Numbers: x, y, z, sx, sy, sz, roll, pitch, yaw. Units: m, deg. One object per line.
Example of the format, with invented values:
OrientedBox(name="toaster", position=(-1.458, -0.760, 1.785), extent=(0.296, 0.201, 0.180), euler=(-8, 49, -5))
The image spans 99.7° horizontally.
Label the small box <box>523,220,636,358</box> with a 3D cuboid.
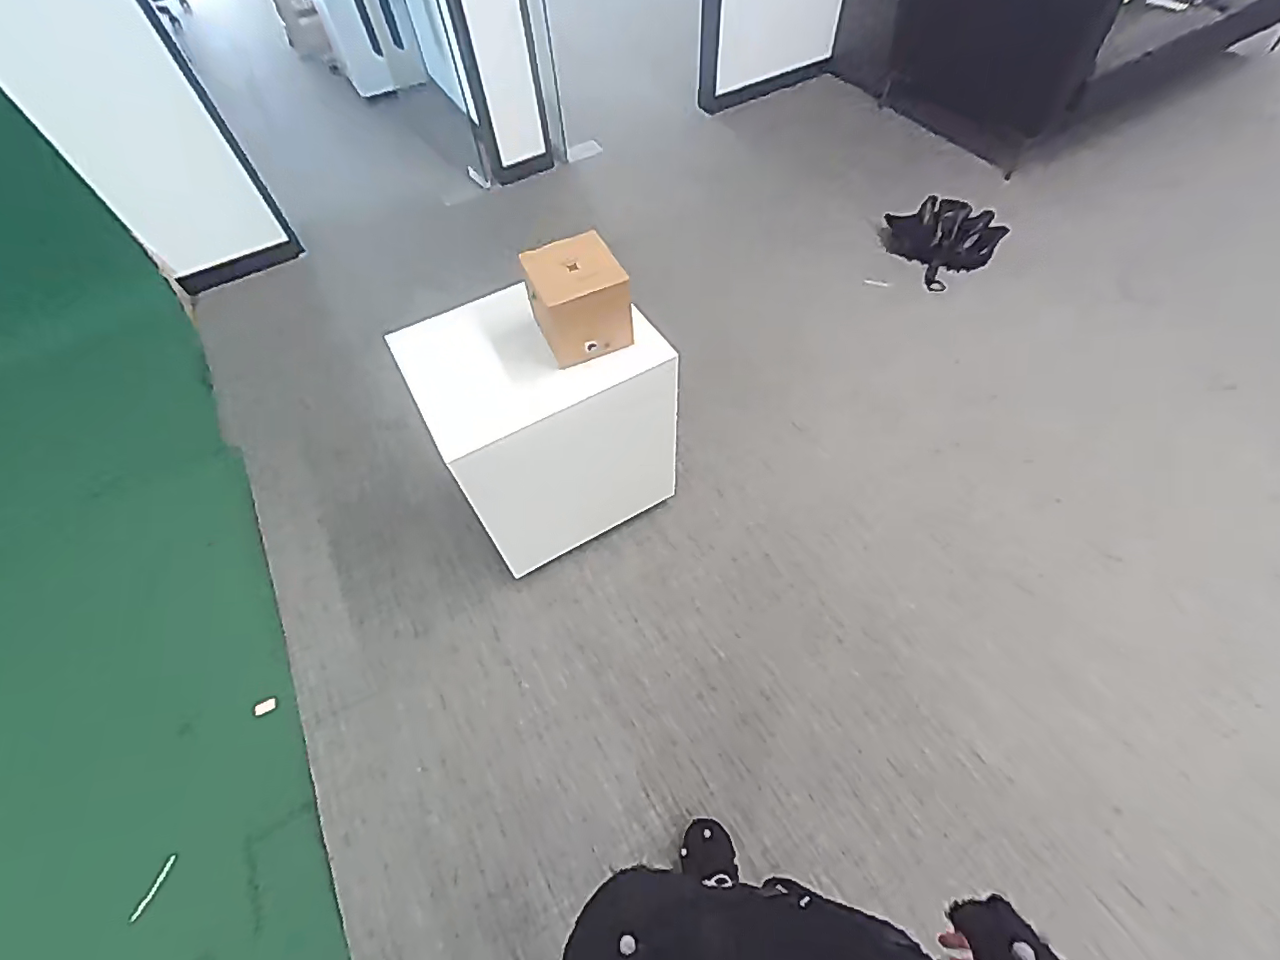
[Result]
OrientedBox(name="small box", position=(-0.116, -0.379, 1.085), extent=(0.168, 0.176, 0.179), euler=(-23, 61, -10))
